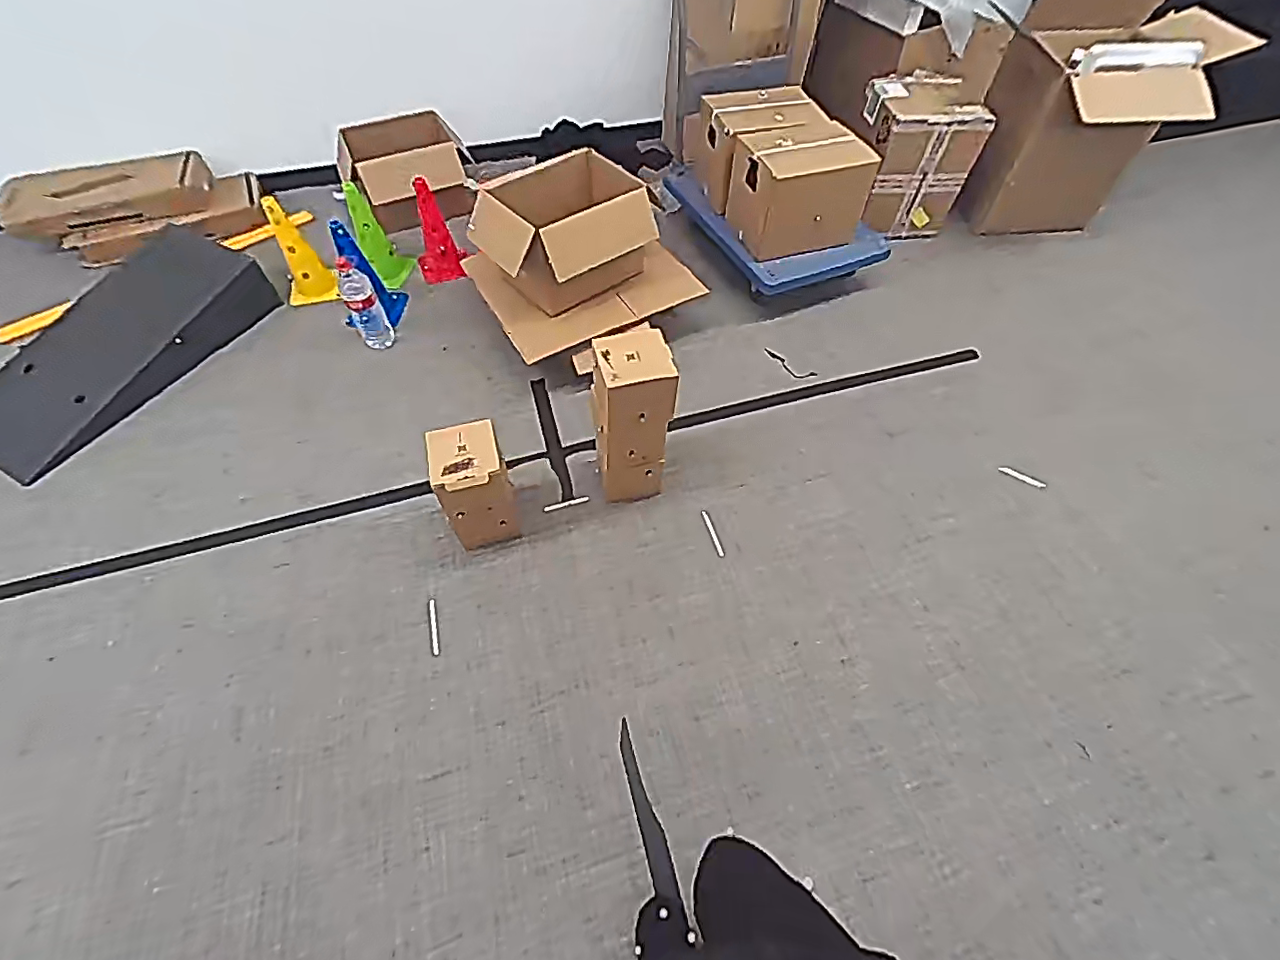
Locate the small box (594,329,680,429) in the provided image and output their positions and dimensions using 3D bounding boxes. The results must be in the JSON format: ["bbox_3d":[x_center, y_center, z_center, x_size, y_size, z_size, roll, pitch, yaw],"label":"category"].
[{"bbox_3d":[-0.015,-0.247,1.340,0.179,0.176,0.168,-11,59,-11],"label":"small box"}]

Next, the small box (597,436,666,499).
[{"bbox_3d":[-0.032,-0.062,1.608,0.179,0.176,0.168,-10,57,-8],"label":"small box"}]

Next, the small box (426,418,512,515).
[{"bbox_3d":[-0.432,-0.027,1.381,0.168,0.176,0.179,-14,56,-10],"label":"small box"}]

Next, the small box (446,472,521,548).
[{"bbox_3d":[-0.440,0.065,1.517,0.179,0.176,0.168,-17,58,-10],"label":"small box"}]

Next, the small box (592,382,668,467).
[{"bbox_3d":[-0.032,-0.162,1.479,0.168,0.176,0.179,-13,59,-11],"label":"small box"}]
